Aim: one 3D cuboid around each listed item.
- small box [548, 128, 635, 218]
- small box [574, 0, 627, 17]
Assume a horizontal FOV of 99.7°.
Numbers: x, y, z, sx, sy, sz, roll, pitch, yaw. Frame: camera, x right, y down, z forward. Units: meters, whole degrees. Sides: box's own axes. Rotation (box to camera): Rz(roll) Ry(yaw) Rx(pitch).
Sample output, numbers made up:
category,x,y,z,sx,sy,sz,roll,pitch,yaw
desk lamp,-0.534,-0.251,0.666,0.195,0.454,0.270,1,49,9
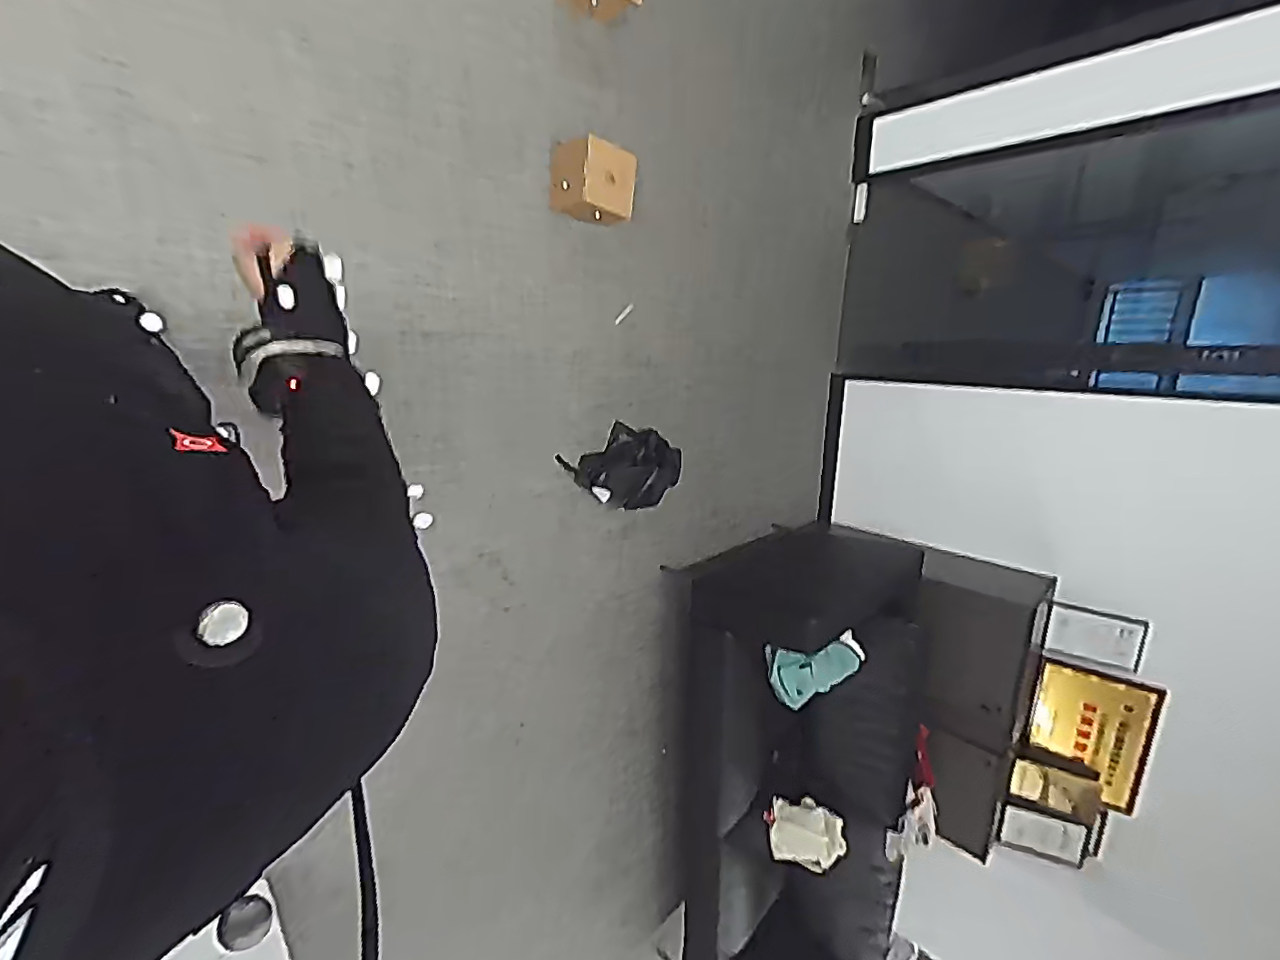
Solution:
category,x,y,z,sx,sy,sz,roll,pitch,yaw
small box,-0.139,-0.851,1.519,0.179,0.176,0.168,-4,106,-45
small box,-0.105,-1.360,1.403,0.168,0.176,0.179,-9,108,-43
